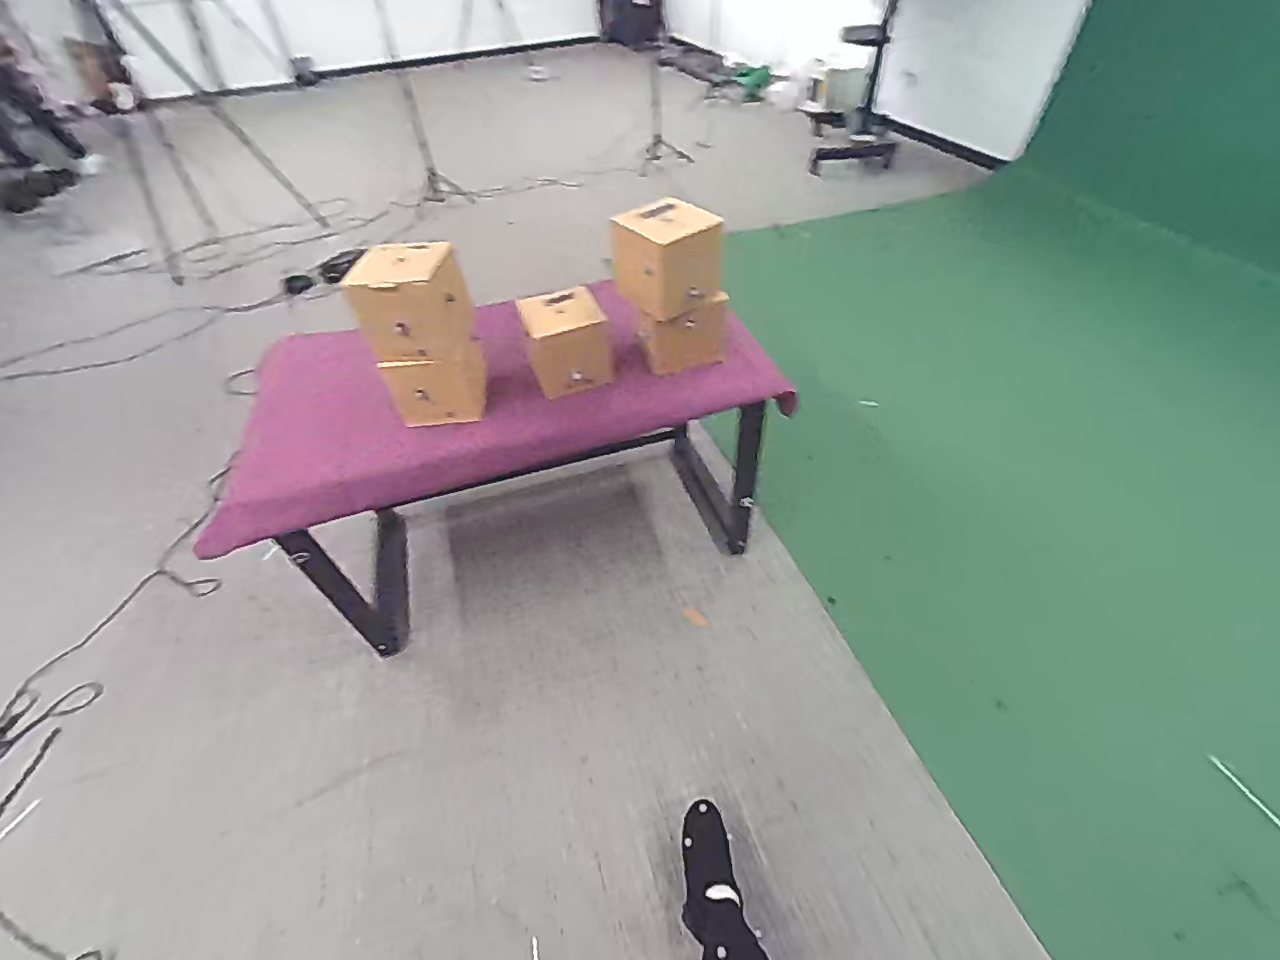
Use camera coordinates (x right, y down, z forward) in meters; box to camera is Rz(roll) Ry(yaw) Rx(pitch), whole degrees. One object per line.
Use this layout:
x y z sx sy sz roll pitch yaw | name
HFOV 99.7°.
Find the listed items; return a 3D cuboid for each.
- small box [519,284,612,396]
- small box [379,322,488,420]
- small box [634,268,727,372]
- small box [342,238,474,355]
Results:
-0.170 -0.324 1.252 0.168 0.176 0.179 -18 49 -12 | small box
-0.445 -0.246 1.198 0.168 0.176 0.179 -5 46 -1 | small box
0.095 -0.376 1.283 0.179 0.176 0.168 -14 47 -9 | small box
-0.450 -0.364 1.084 0.168 0.176 0.179 0 47 4 | small box
